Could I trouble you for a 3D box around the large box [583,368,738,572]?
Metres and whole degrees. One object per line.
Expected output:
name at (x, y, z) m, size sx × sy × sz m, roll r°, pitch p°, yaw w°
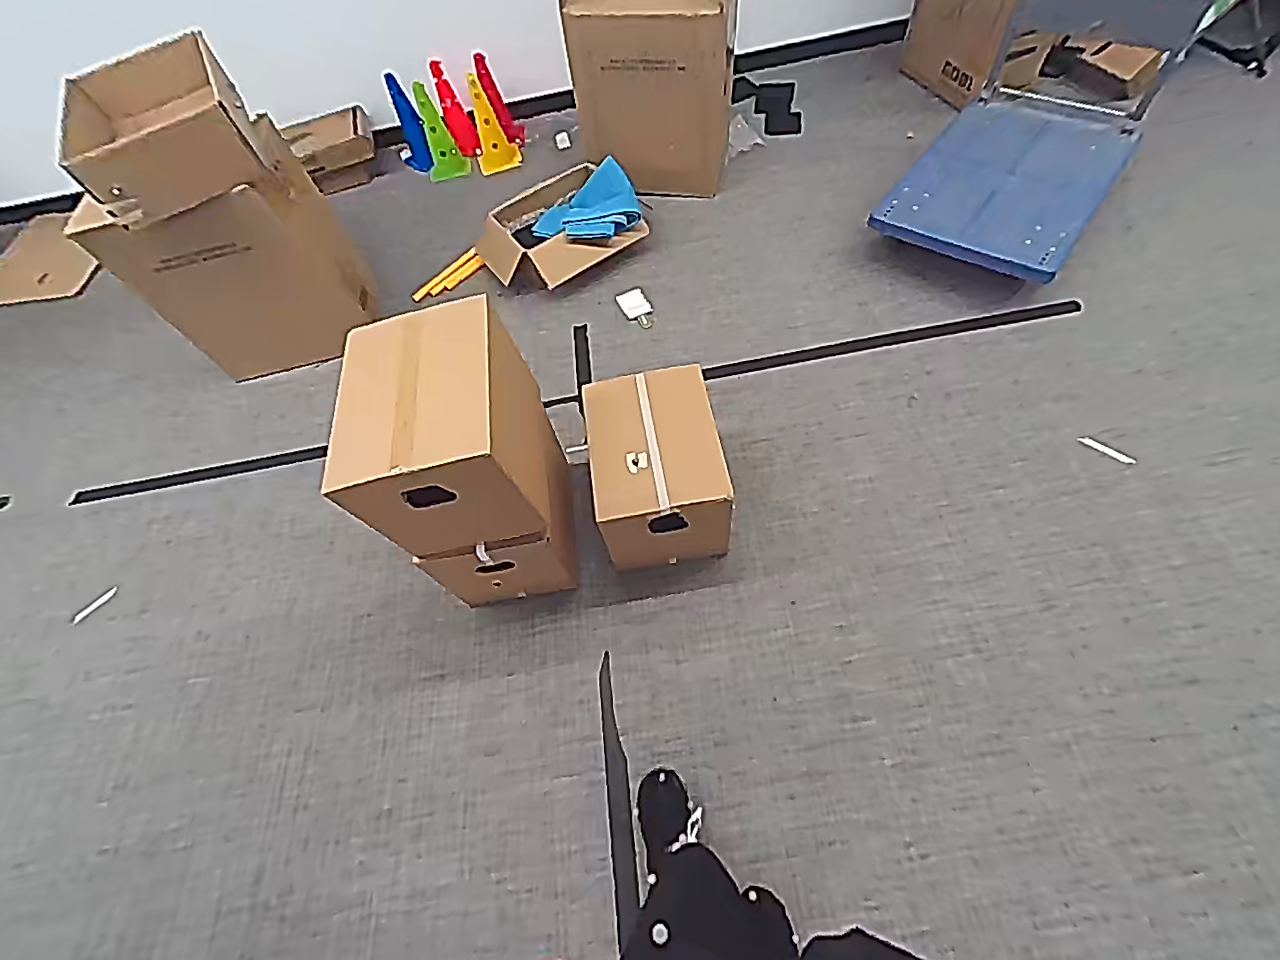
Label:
large box at (0.050, -0.021, 1.415) m, size 0.320 × 0.320 × 0.408 m, roll -11°, pitch 59°, yaw 2°
